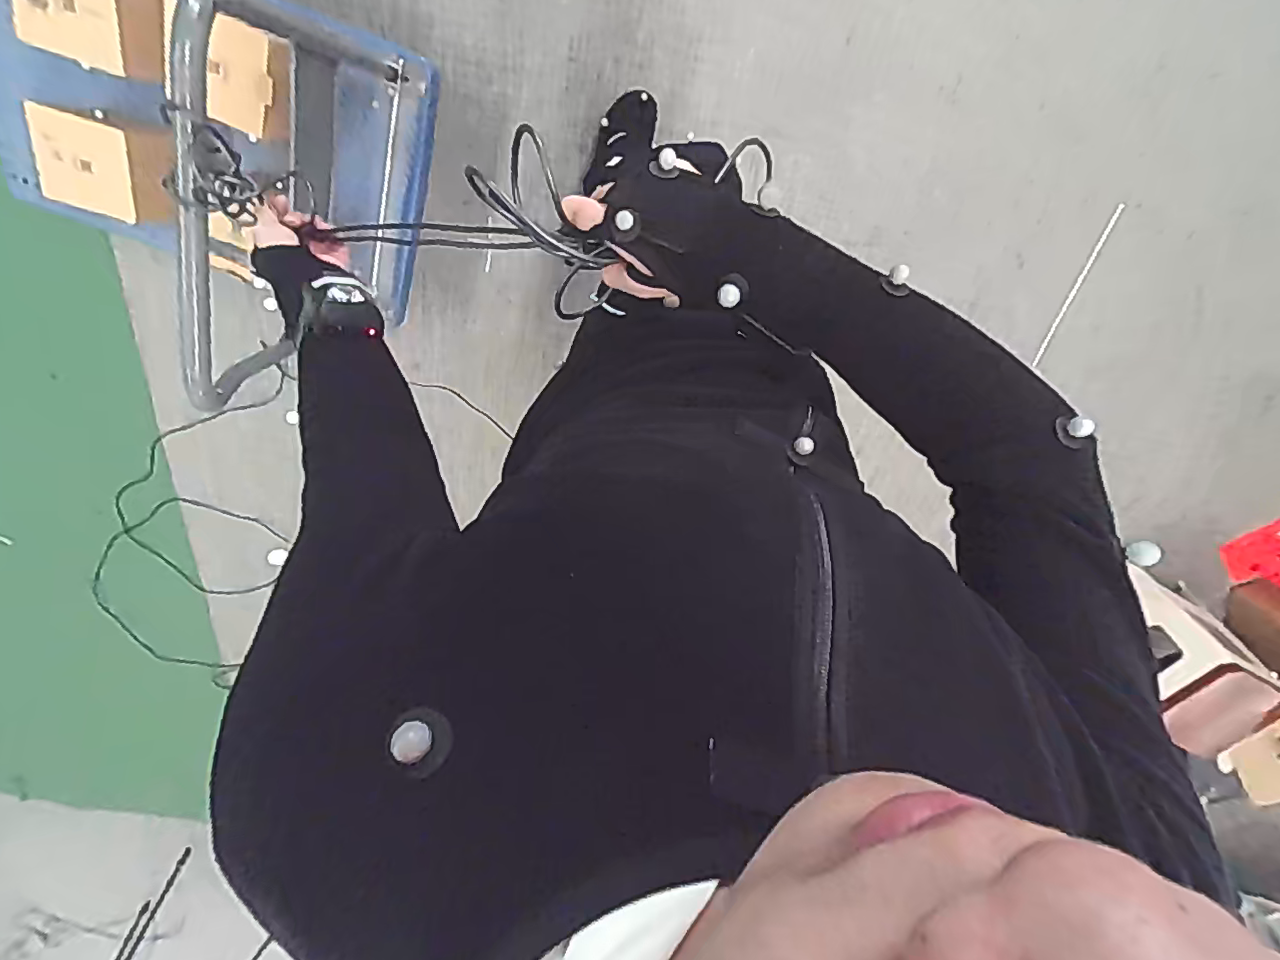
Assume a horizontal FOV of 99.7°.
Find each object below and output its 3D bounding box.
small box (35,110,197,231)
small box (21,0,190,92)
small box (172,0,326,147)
[{"bbox_3d":[-1.061,-0.635,1.118,0.179,0.176,0.168,16,117,-7],"label":"small box"},{"bbox_3d":[-0.972,-0.844,0.999,0.179,0.176,0.168,17,119,-8],"label":"small box"},{"bbox_3d":[-0.744,-0.762,1.038,0.179,0.176,0.168,20,118,-10],"label":"small box"}]
